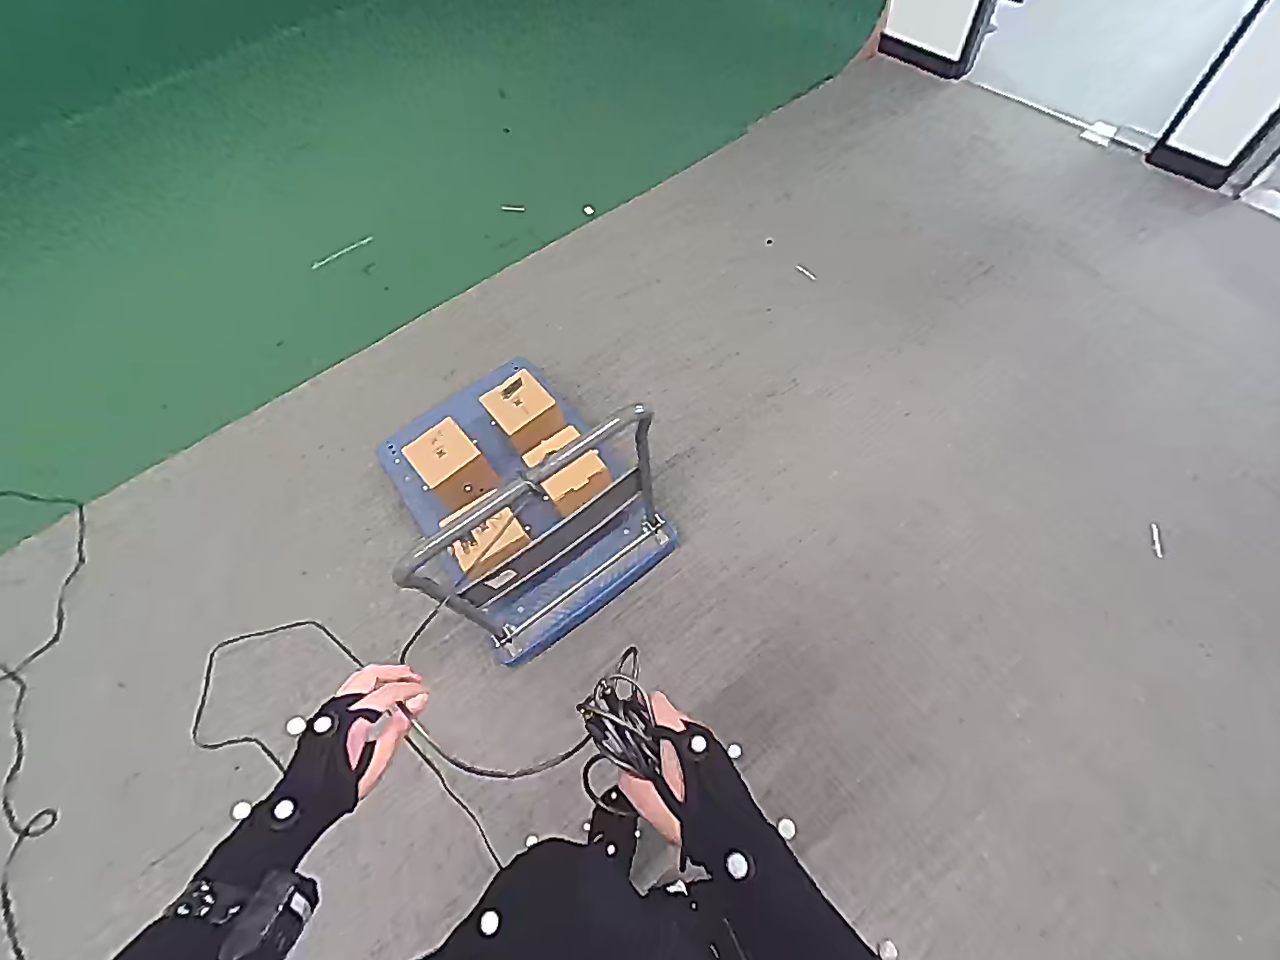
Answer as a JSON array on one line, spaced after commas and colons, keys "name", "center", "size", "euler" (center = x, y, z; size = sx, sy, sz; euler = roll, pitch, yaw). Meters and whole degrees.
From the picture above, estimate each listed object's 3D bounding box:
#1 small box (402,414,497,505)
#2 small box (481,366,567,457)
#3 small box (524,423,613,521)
[{"name": "small box", "center": [-0.541, -0.050, 1.560], "size": [0.168, 0.176, 0.179], "euler": [-38, 65, -14]}, {"name": "small box", "center": [-0.340, -0.199, 1.614], "size": [0.168, 0.176, 0.179], "euler": [-37, 66, -12]}, {"name": "small box", "center": [-0.194, -0.018, 1.506], "size": [0.168, 0.176, 0.179], "euler": [-34, 65, -11]}]
